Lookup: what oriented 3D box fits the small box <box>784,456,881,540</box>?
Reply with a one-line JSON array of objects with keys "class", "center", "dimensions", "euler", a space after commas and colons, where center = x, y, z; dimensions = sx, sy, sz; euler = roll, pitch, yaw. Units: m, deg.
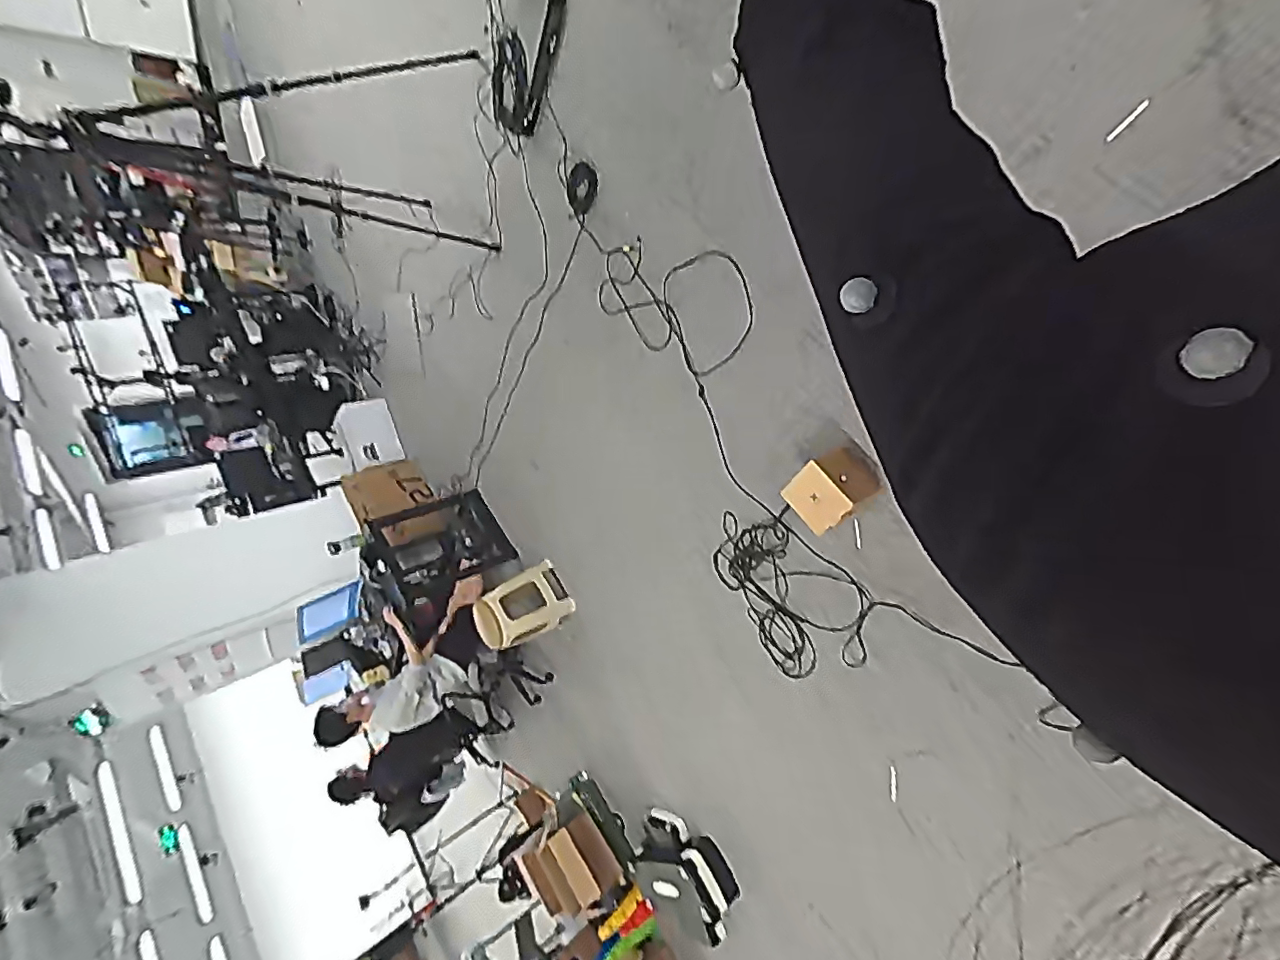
[{"class": "small box", "center": [0.573, 0.045, 1.608], "dimensions": [0.179, 0.176, 0.168], "euler": [52, 138, 21]}]
